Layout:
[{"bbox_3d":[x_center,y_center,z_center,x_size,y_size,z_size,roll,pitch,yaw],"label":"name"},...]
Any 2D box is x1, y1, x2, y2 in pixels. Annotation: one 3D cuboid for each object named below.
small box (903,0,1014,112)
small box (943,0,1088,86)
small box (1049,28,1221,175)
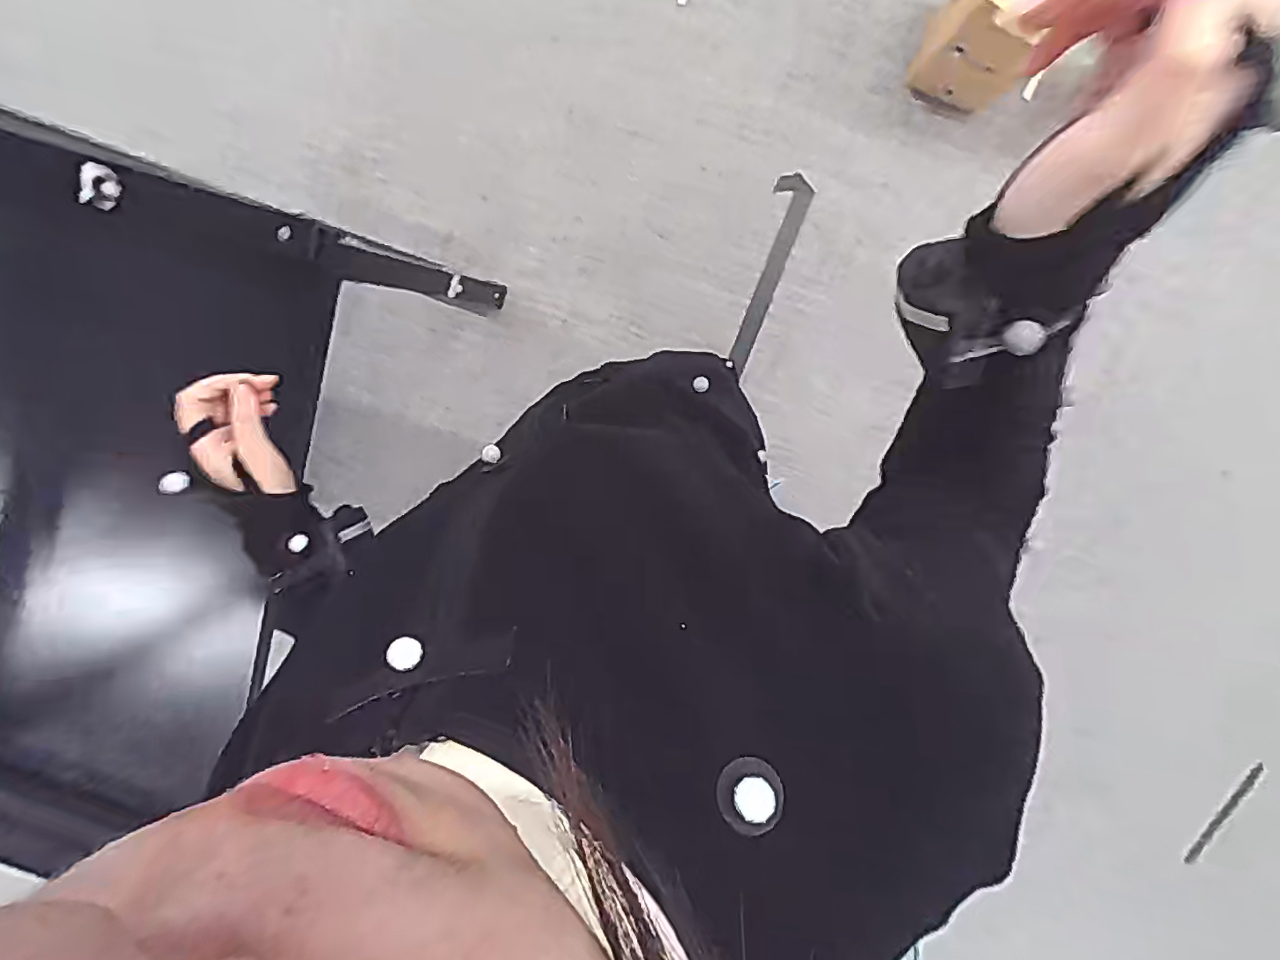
[{"bbox_3d":[0.691,-0.905,1.125,0.179,0.176,0.168,21,105,-2],"label":"small box"},{"bbox_3d":[0.681,-0.857,0.967,0.168,0.176,0.179,26,104,-3],"label":"small box"},{"bbox_3d":[1.015,-0.777,1.131,0.168,0.176,0.179,22,105,-1],"label":"small box"}]
